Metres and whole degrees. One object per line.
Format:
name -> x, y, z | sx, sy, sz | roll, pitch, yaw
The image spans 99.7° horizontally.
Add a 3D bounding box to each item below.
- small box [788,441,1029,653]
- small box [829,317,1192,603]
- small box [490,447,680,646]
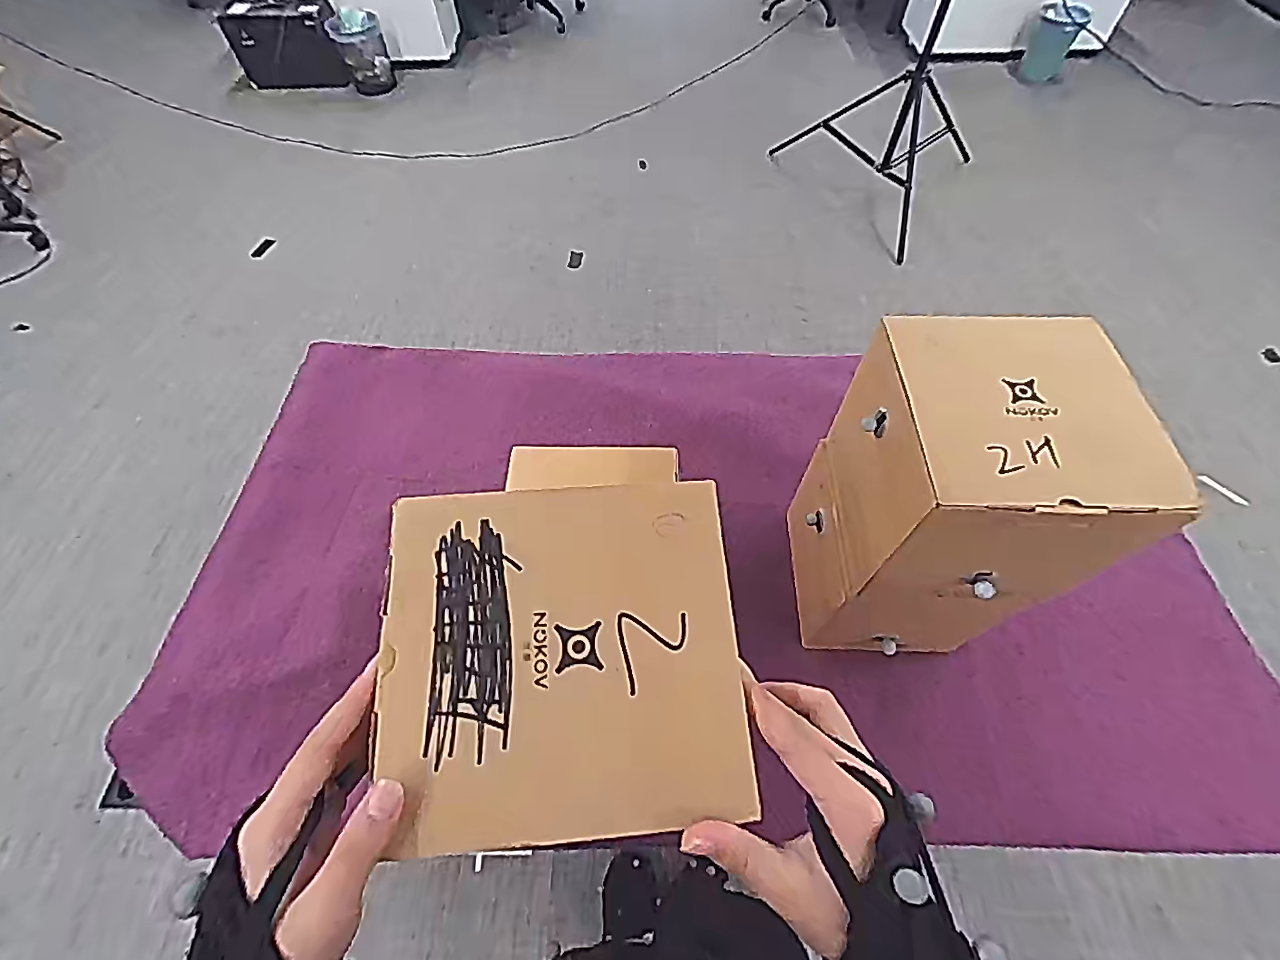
small box -> 0.268, 0.076, 0.592 | 0.168, 0.176, 0.179 | 1, 58, 2
small box -> 0.270, -0.013, 0.453 | 0.168, 0.176, 0.179 | 1, 58, 2
small box -> -0.047, 0.079, 0.597 | 0.179, 0.176, 0.168 | 1, 57, 1
